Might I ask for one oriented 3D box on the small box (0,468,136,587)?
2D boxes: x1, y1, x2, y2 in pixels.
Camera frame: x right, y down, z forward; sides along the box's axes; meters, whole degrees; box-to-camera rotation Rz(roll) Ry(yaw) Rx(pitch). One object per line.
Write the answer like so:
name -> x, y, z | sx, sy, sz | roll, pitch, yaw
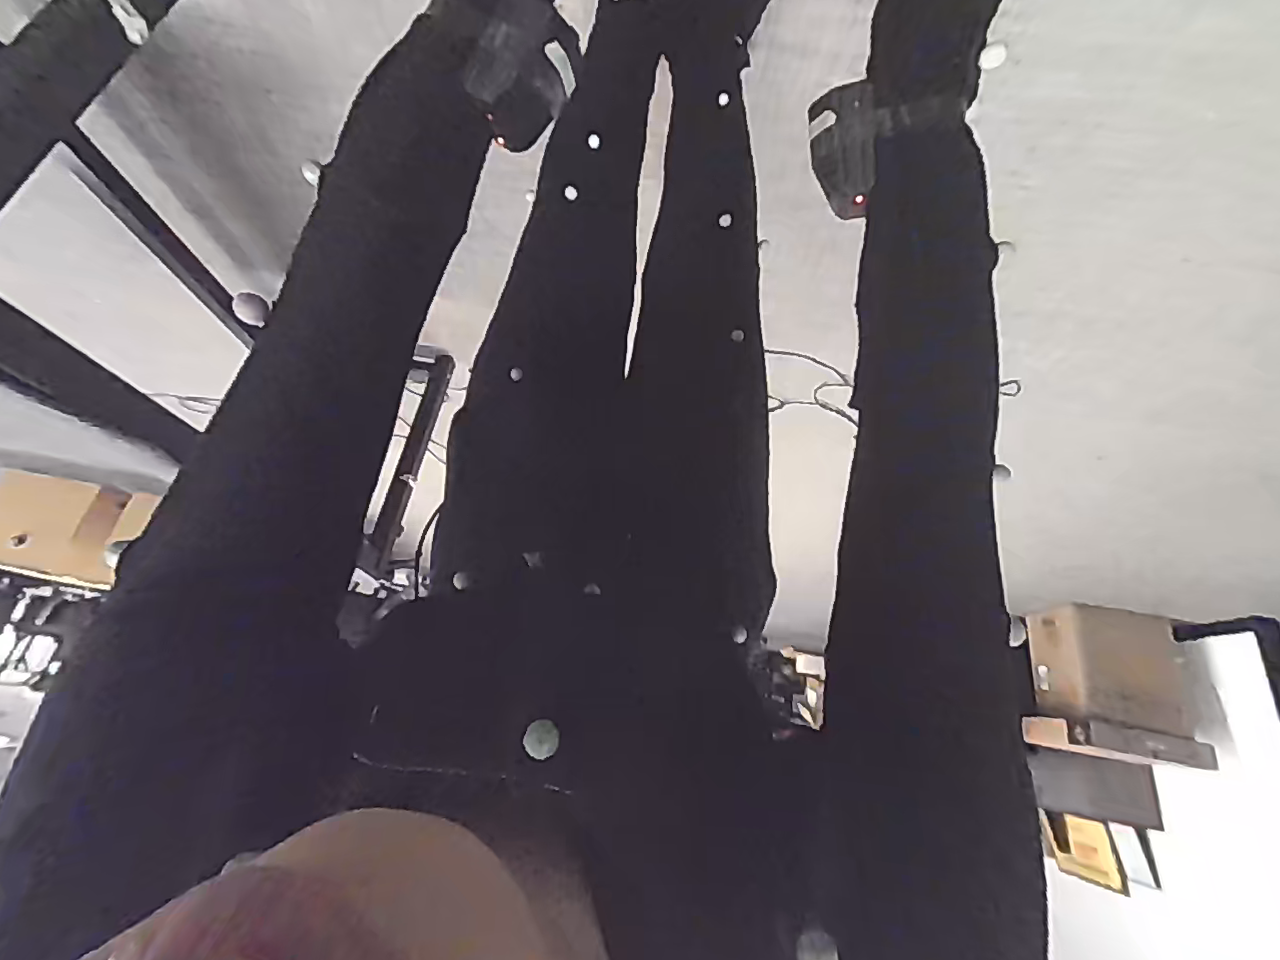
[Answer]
small box -> -1.071, 0.090, 1.003 | 0.179, 0.176, 0.168 | 11, 158, -3
